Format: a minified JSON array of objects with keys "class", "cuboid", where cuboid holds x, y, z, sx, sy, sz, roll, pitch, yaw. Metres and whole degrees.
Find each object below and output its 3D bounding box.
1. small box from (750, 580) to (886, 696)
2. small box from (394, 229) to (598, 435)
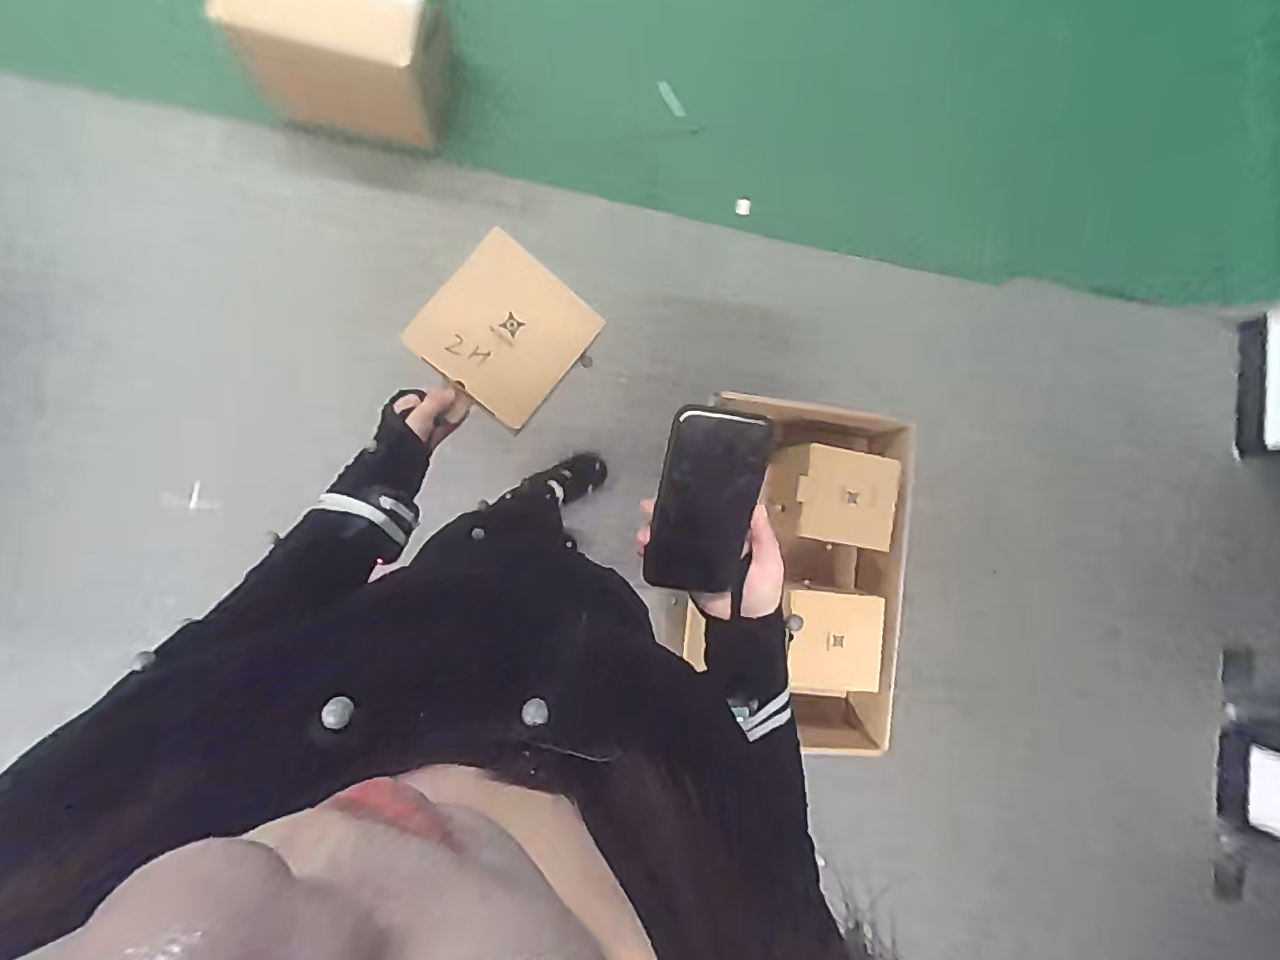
[{"class":"small box","cuboid":[0.324,0.285,1.007,0.179,0.176,0.168,8,86,-7]},{"class":"small box","cuboid":[-0.180,-0.175,0.699,0.168,0.176,0.179,39,85,-11]}]
